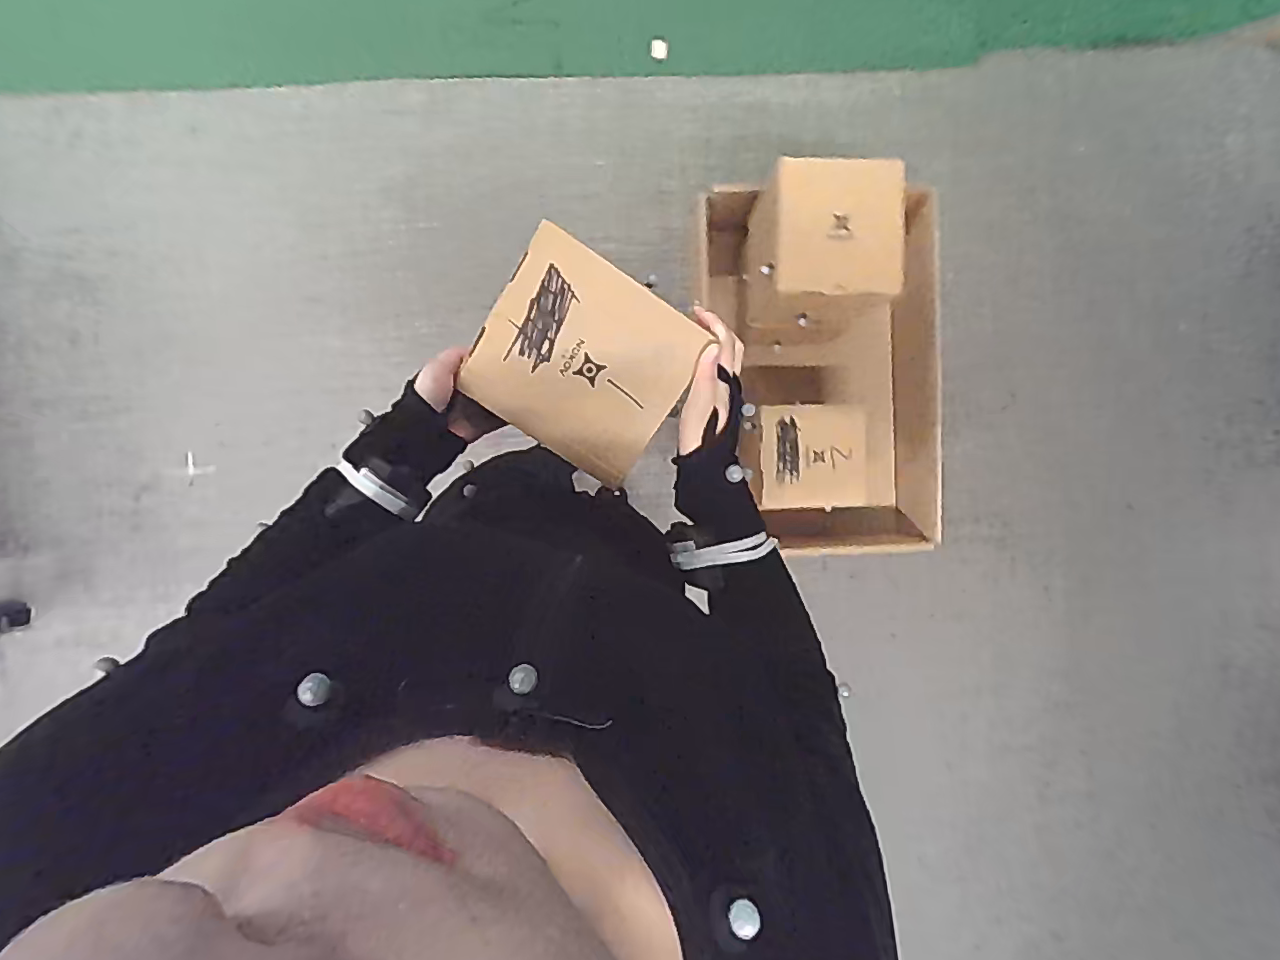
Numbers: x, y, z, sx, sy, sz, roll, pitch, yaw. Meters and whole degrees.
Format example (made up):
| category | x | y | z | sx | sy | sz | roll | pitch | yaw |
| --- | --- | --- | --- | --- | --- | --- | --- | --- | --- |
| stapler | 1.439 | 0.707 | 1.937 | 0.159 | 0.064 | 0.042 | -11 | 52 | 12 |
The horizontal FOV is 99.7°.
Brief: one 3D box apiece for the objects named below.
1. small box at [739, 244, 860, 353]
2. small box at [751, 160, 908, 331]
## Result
| category | x | y | z | sx | sy | sz | roll | pitch | yaw |
| --- | --- | --- | --- | --- | --- | --- | --- | --- | --- |
| small box | 0.271 | -0.330 | 0.946 | 0.168 | 0.176 | 0.179 | 1 | 92 | -2 |
| small box | 0.262 | -0.327 | 0.783 | 0.168 | 0.176 | 0.179 | 1 | 92 | -2 |
